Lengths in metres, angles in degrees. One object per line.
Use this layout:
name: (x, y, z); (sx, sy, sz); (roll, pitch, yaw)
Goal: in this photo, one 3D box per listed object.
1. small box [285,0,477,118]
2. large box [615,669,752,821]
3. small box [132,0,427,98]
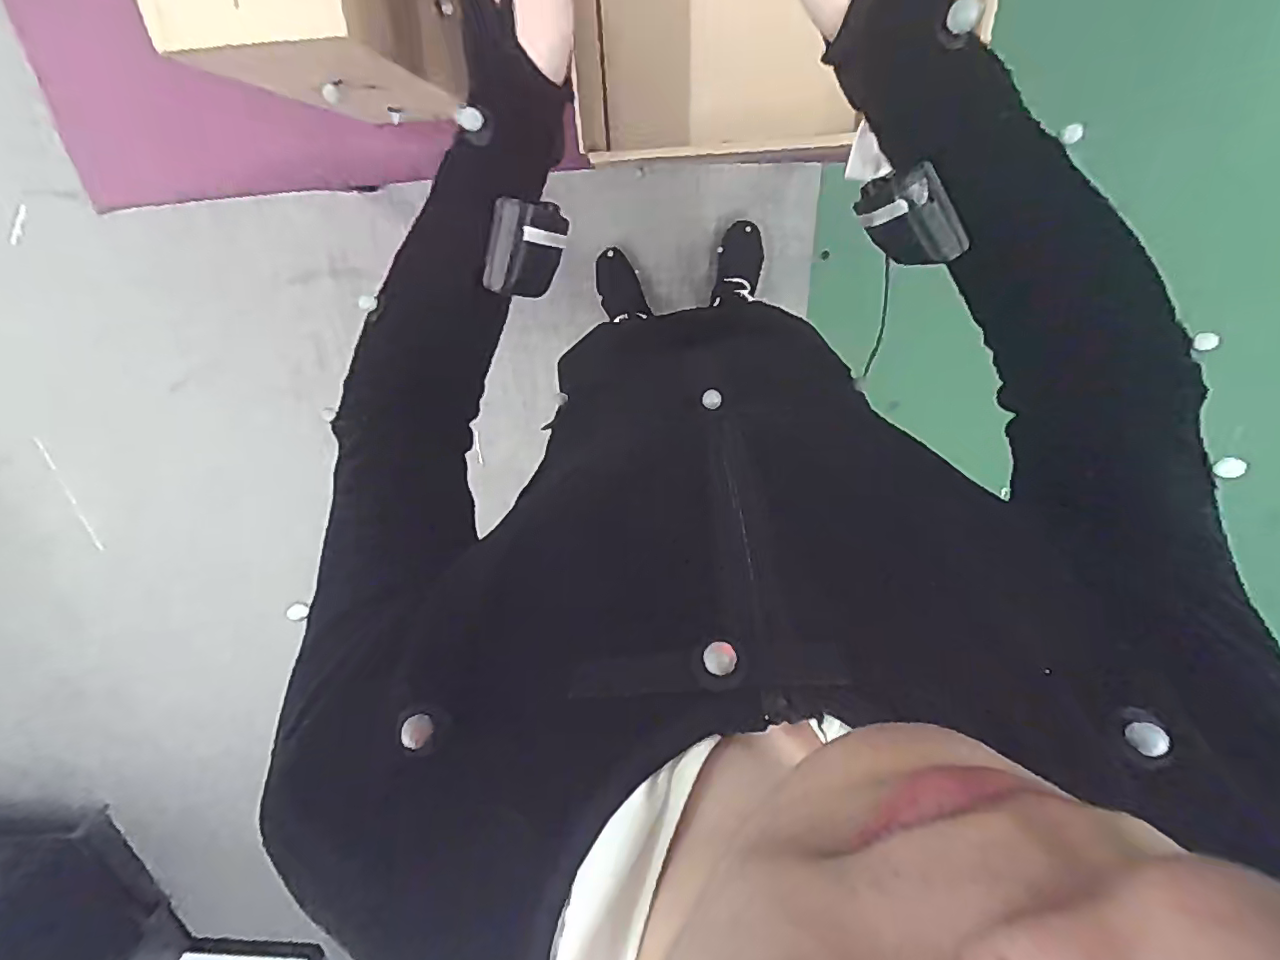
small box: (-0.298, -0.523, 0.610); (0.168, 0.176, 0.179); (-1, 115, 3)
large box: (0.160, 1.000, 2.051); (0.408, 0.320, 0.320); (-32, 110, 17)
small box: (-0.306, -0.453, 0.463); (0.168, 0.176, 0.179); (0, 115, 4)
